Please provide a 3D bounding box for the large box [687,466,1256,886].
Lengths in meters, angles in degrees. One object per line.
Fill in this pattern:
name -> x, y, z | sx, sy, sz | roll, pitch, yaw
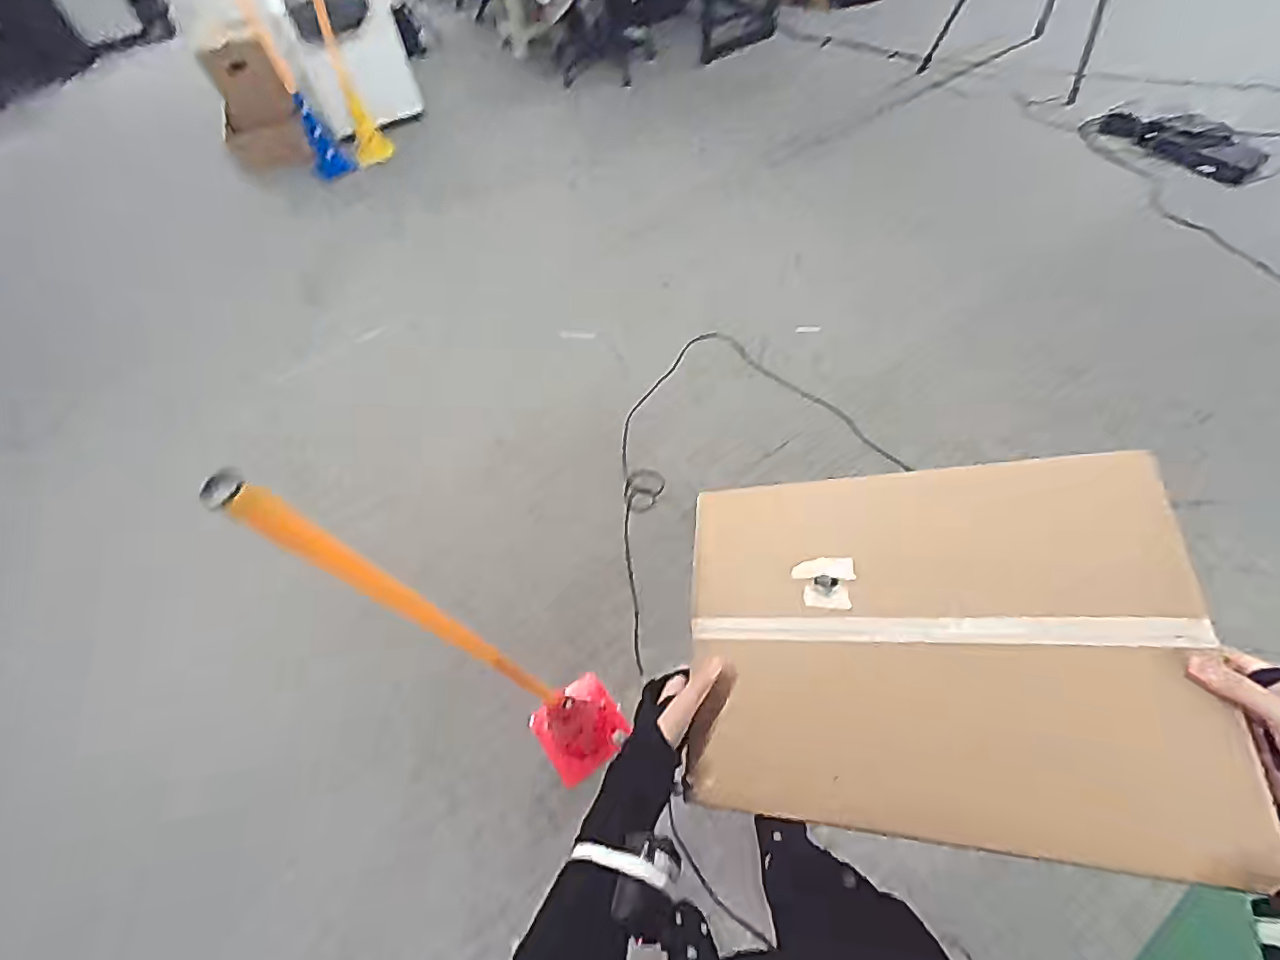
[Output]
large box -> 0.302, 0.208, 0.612 | 0.408, 0.320, 0.320 | -6, 62, 26
